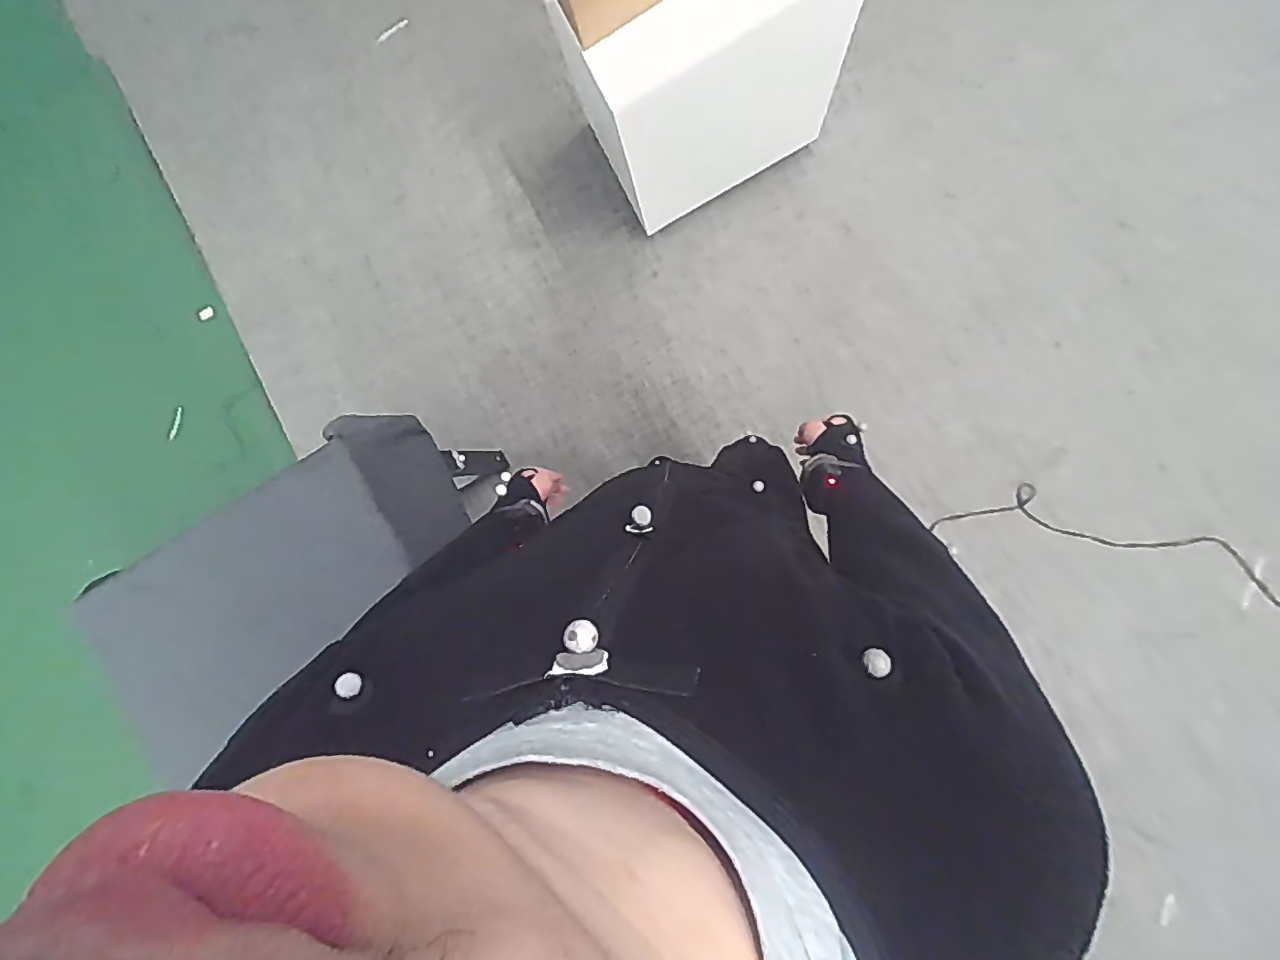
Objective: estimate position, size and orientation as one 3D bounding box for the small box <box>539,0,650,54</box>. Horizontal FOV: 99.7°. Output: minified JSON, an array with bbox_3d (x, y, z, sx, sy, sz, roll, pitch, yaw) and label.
[{"bbox_3d":[-0.087,-0.838,0.848,0.179,0.176,0.168,-30,87,5],"label":"small box"}]
